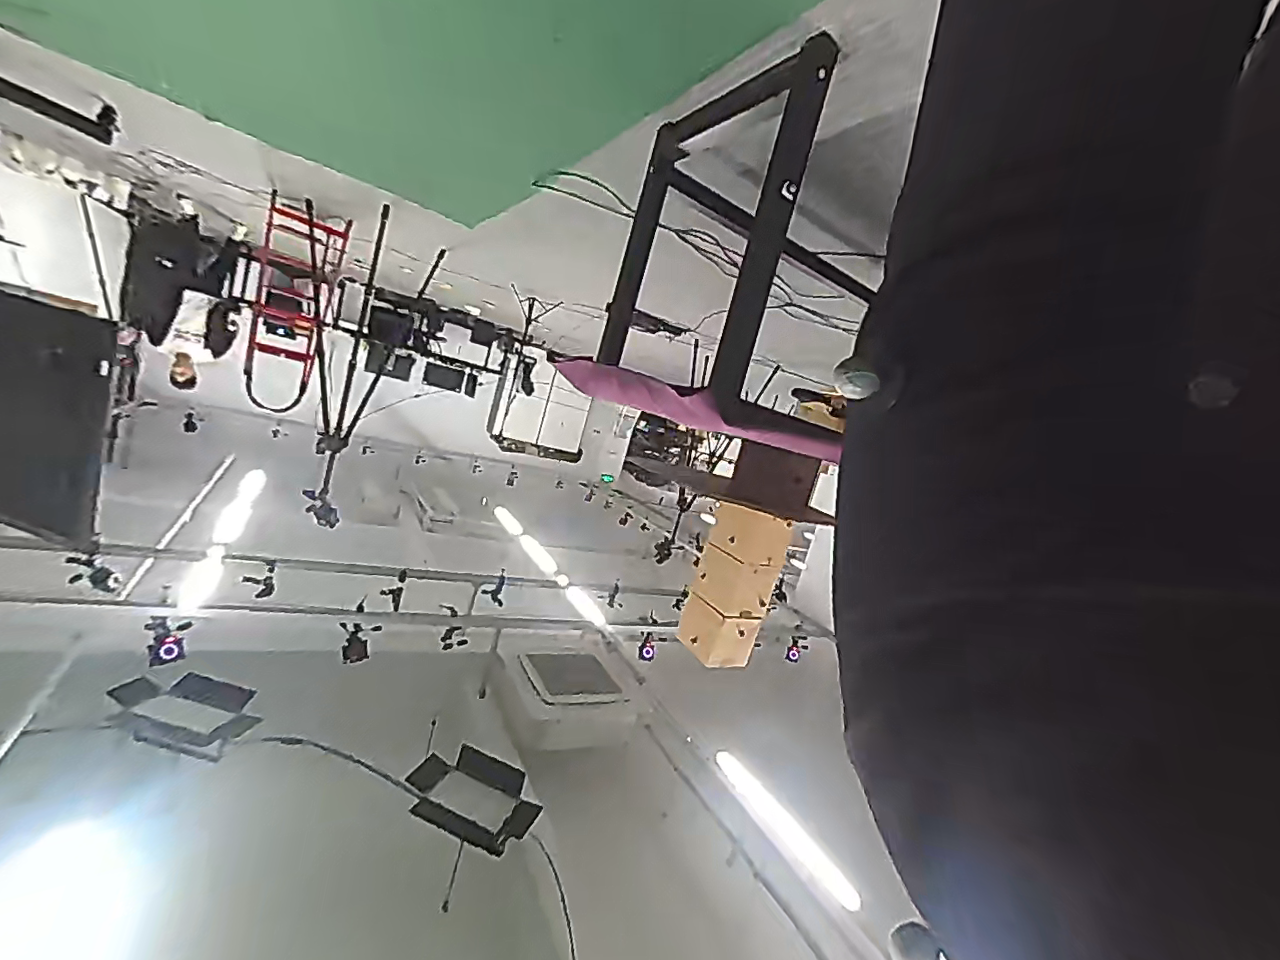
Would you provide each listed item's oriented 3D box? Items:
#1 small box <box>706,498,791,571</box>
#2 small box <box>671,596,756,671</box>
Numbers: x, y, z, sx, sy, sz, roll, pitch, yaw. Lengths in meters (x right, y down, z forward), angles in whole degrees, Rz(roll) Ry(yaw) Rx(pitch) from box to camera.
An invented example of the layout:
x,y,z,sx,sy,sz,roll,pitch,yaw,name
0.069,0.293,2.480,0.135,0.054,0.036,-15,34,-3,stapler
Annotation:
x,y,z,sx,sy,sz,roll,pitch,yaw,name
0.330,0.159,1.622,0.168,0.176,0.179,12,-172,-32,small box
0.229,0.468,1.670,0.168,0.176,0.179,12,-171,-33,small box
